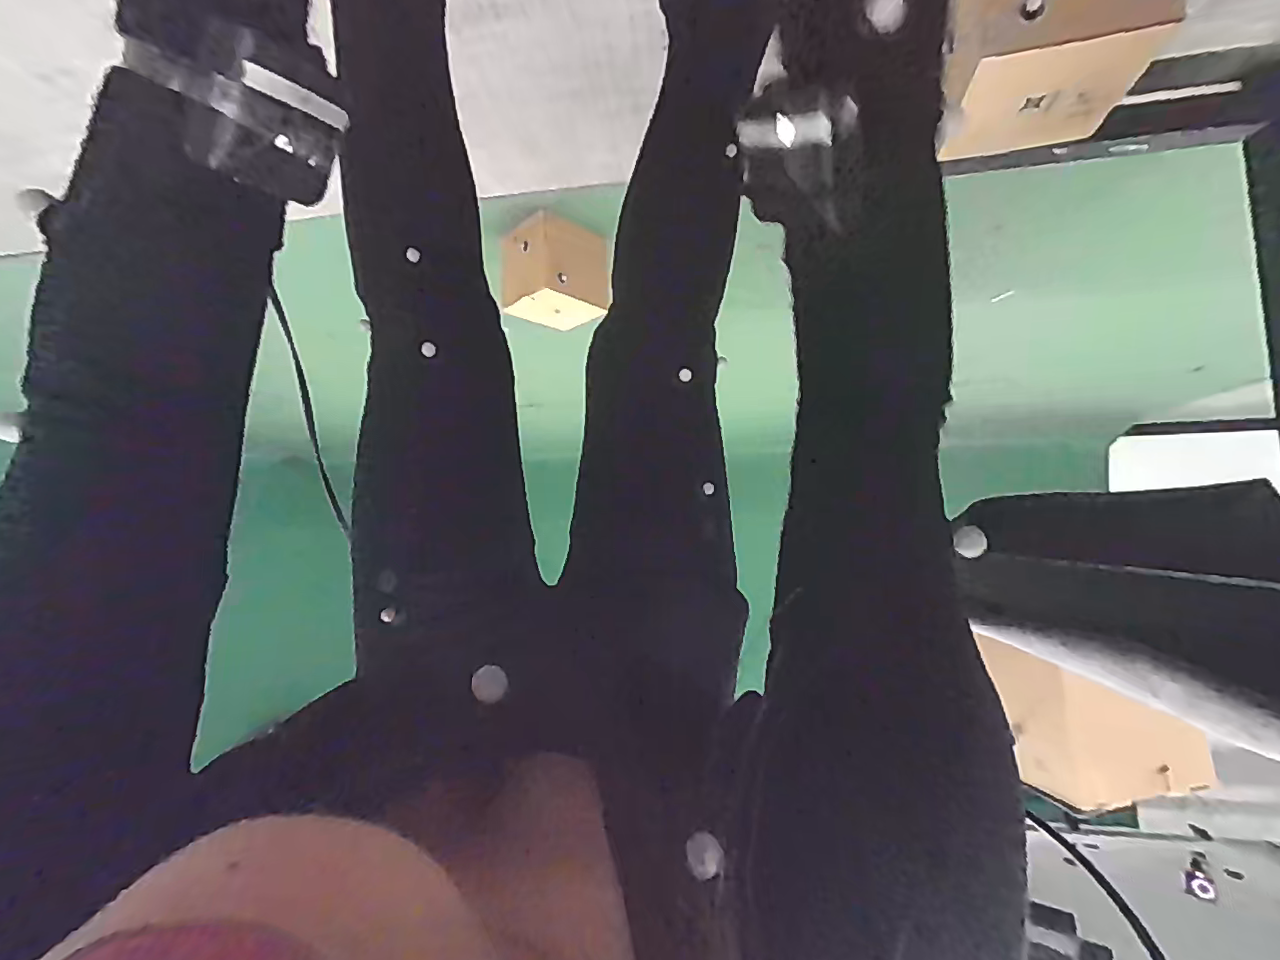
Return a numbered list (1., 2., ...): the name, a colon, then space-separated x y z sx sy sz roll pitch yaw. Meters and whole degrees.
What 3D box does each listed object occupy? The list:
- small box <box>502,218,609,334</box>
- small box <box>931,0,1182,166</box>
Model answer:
1. small box: -0.183 -0.439 1.182 0.168 0.176 0.179 -6 172 44
2. small box: 0.446 -0.500 0.614 0.179 0.176 0.168 -2 175 14
